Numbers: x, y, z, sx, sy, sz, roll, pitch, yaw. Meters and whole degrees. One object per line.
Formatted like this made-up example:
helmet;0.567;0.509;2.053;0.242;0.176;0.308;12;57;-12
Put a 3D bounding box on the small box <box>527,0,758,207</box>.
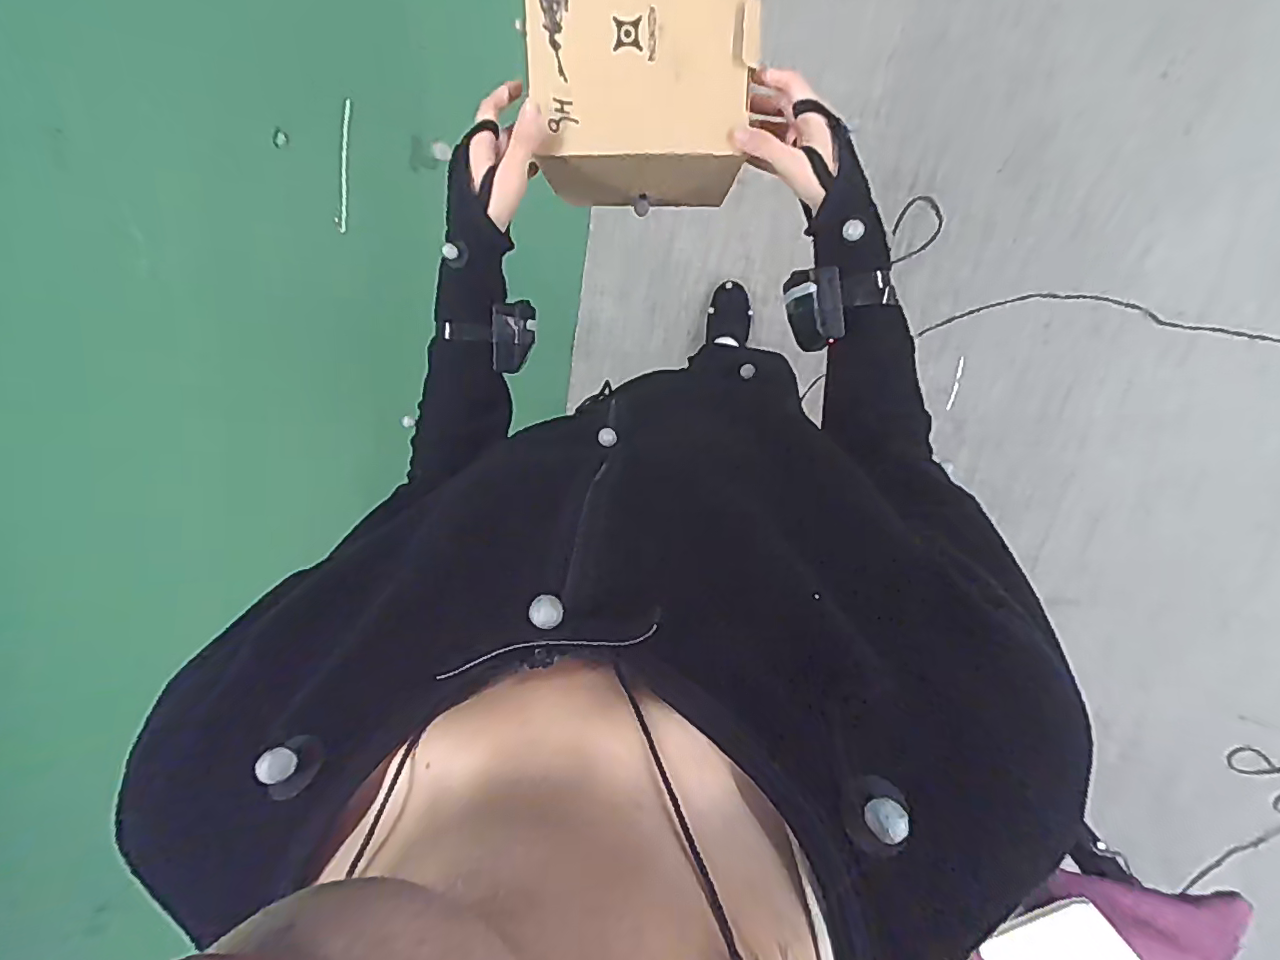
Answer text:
small box;0.000;-0.358;0.487;0.179;0.176;0.168;1;103;-1
